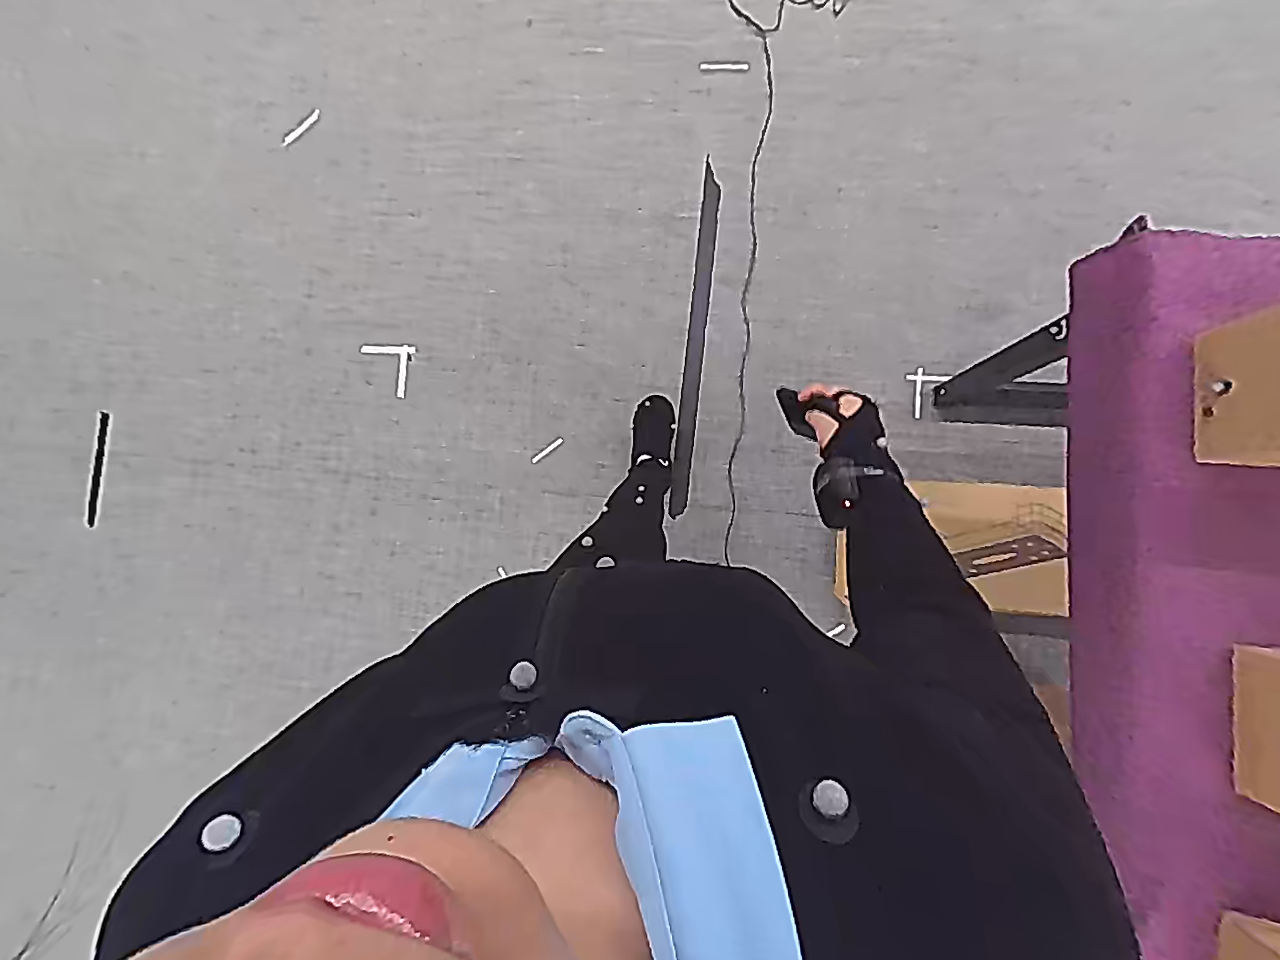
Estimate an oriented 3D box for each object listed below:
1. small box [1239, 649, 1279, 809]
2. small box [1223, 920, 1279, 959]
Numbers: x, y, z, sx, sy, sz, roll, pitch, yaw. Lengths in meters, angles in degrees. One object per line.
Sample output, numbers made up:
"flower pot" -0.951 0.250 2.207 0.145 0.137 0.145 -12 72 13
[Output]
"small box" 0.795 0.292 0.566 0.168 0.176 0.179 3 86 4
"small box" 0.752 0.607 0.550 0.168 0.176 0.179 10 88 7
